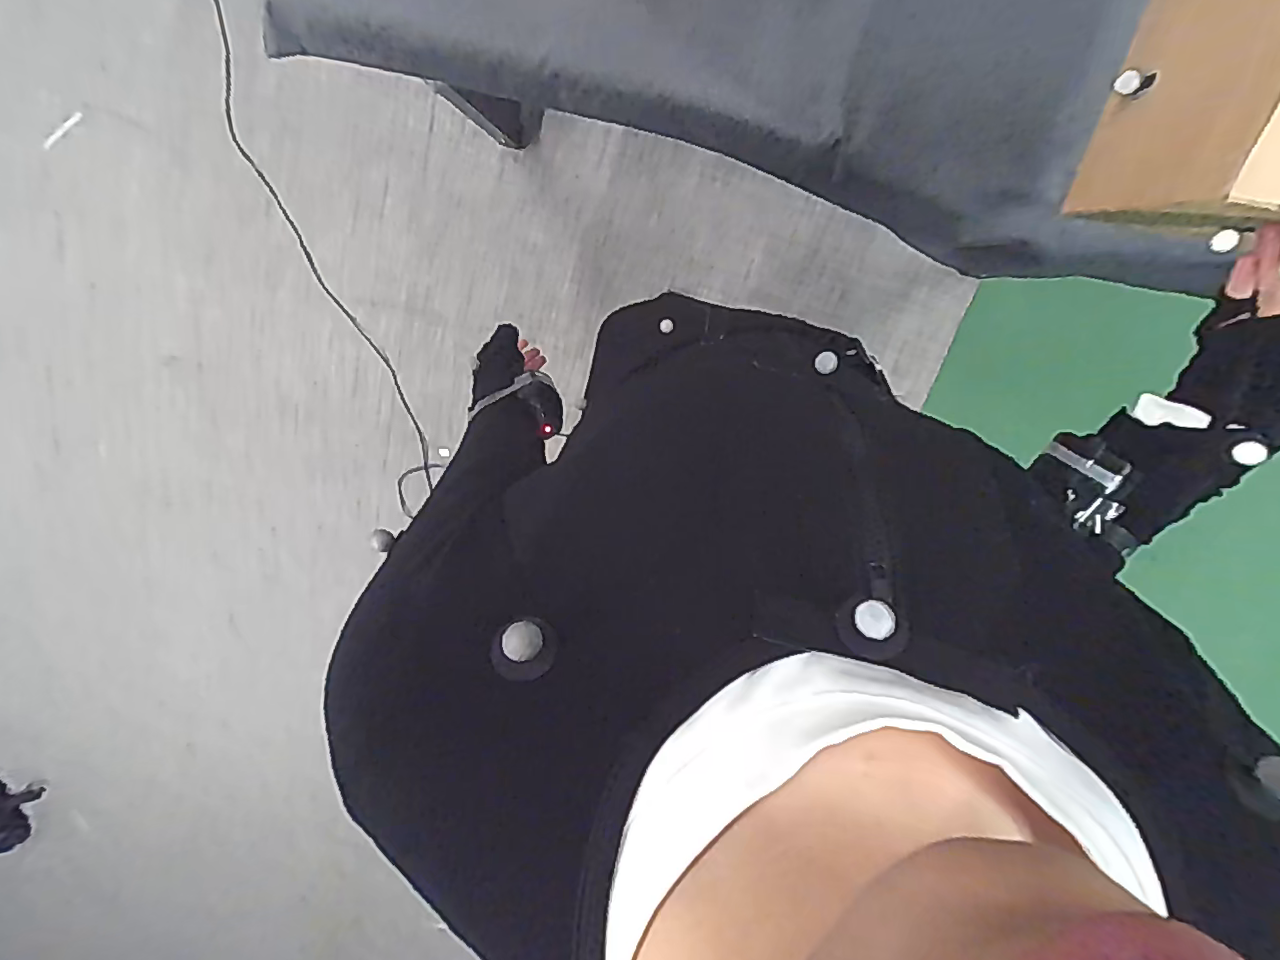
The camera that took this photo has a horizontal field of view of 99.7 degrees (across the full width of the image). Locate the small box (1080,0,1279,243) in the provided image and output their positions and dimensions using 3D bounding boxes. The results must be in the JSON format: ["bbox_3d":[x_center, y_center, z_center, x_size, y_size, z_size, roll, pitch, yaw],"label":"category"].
[{"bbox_3d":[0.445,-0.258,0.353,0.168,0.176,0.179,10,114,3],"label":"small box"}]
